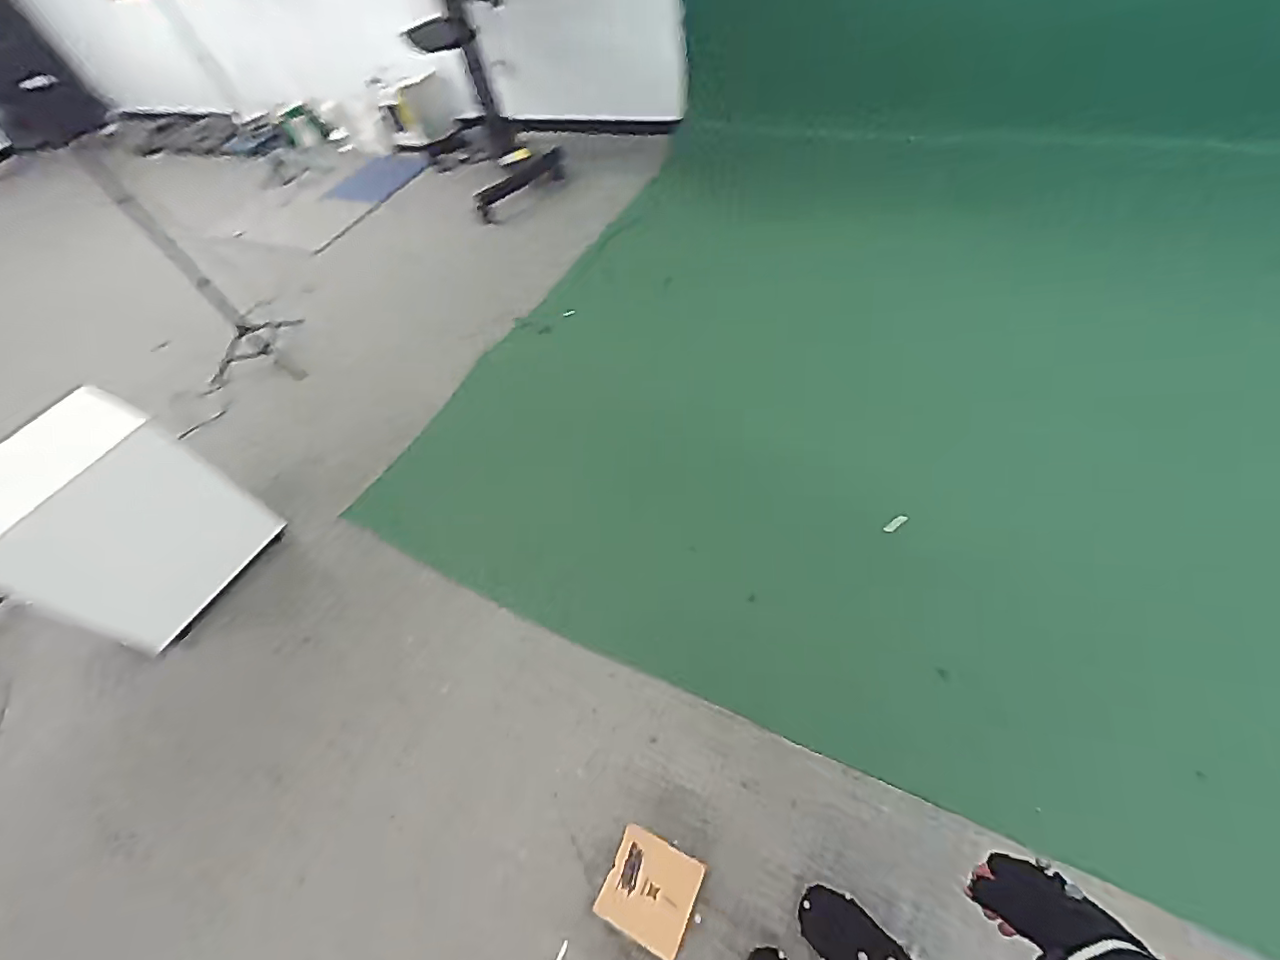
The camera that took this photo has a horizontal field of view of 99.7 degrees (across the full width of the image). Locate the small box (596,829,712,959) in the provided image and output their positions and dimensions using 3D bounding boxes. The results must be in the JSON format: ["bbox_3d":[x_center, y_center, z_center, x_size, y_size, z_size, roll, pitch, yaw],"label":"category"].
[{"bbox_3d":[0.037,0.852,1.104,0.179,0.176,0.168,17,58,21],"label":"small box"}]
